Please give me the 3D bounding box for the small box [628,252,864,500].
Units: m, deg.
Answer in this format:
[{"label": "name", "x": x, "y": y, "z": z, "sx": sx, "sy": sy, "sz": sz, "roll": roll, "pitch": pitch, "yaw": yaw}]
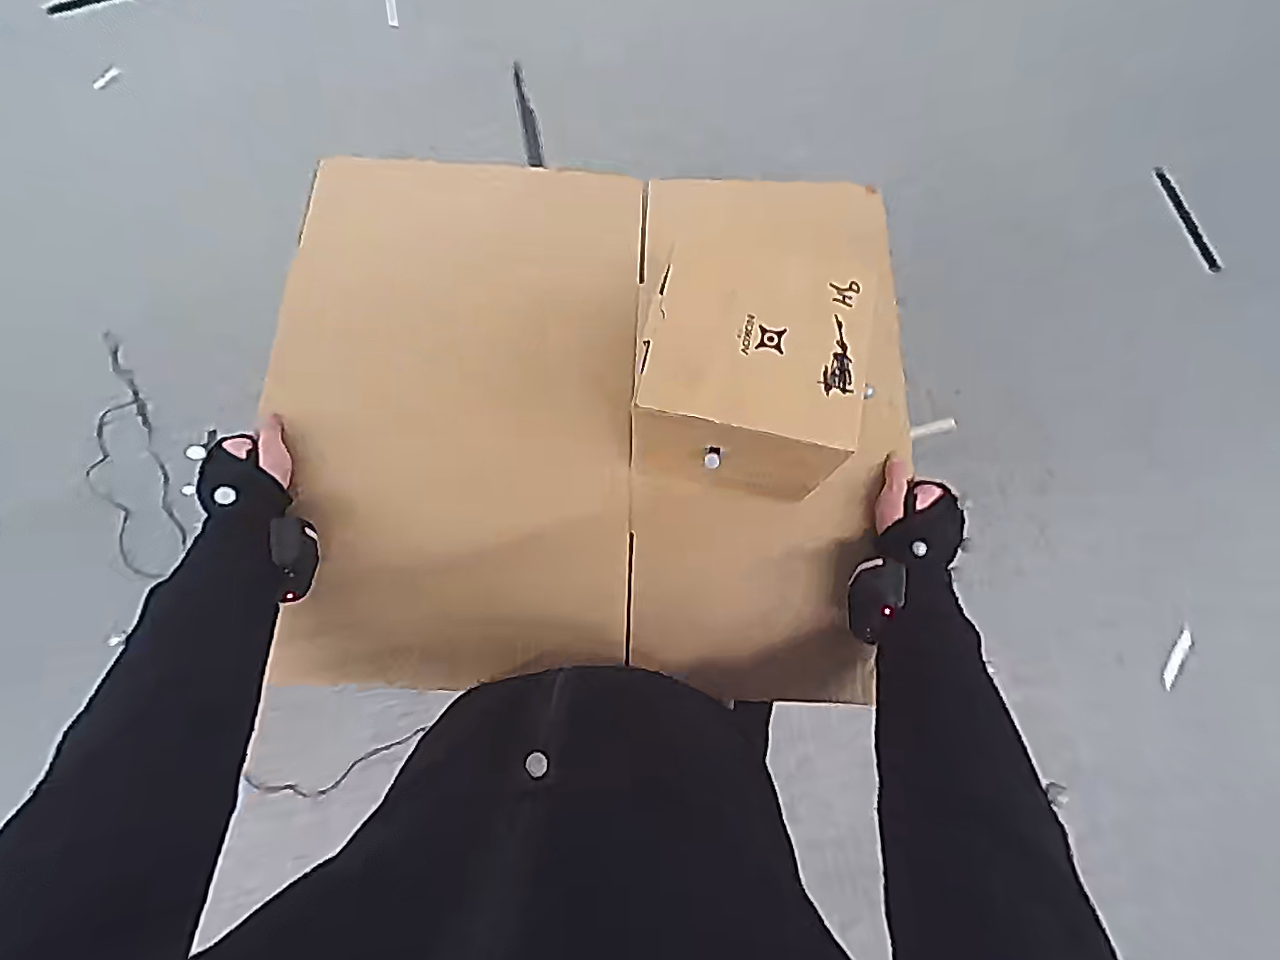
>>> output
[{"label": "small box", "x": 0.094, "y": -0.088, "z": 0.525, "sx": 0.179, "sy": 0.176, "sz": 0.168, "roll": 11, "pitch": 75, "yaw": 5}]
